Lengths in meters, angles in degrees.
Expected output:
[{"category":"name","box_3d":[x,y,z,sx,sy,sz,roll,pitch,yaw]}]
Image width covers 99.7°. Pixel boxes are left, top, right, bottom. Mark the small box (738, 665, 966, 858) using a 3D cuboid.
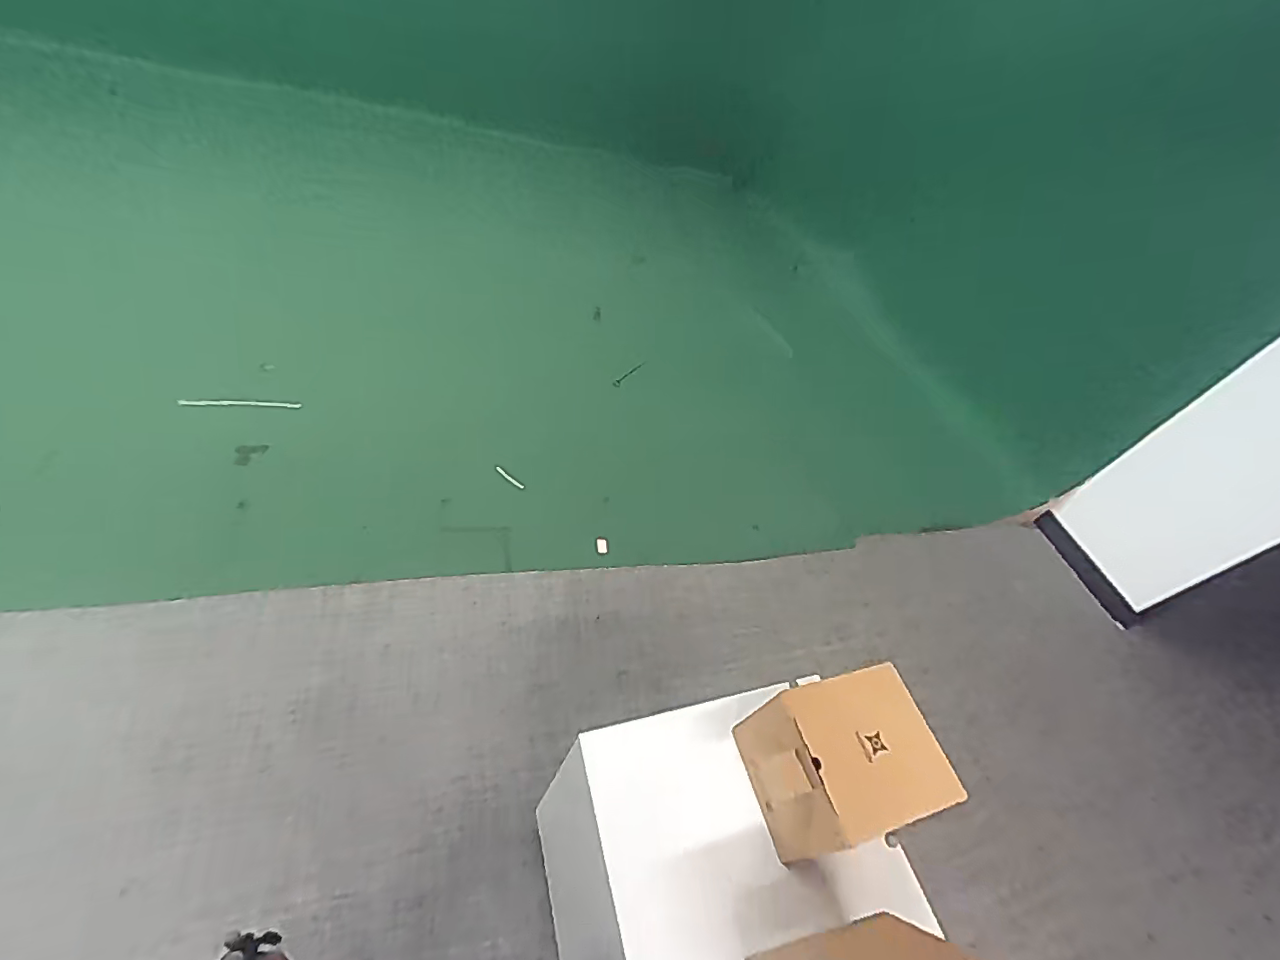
[{"category":"small box","box_3d":[0.255,0.359,0.693,0.179,0.176,0.168,-6,54,-21]}]
